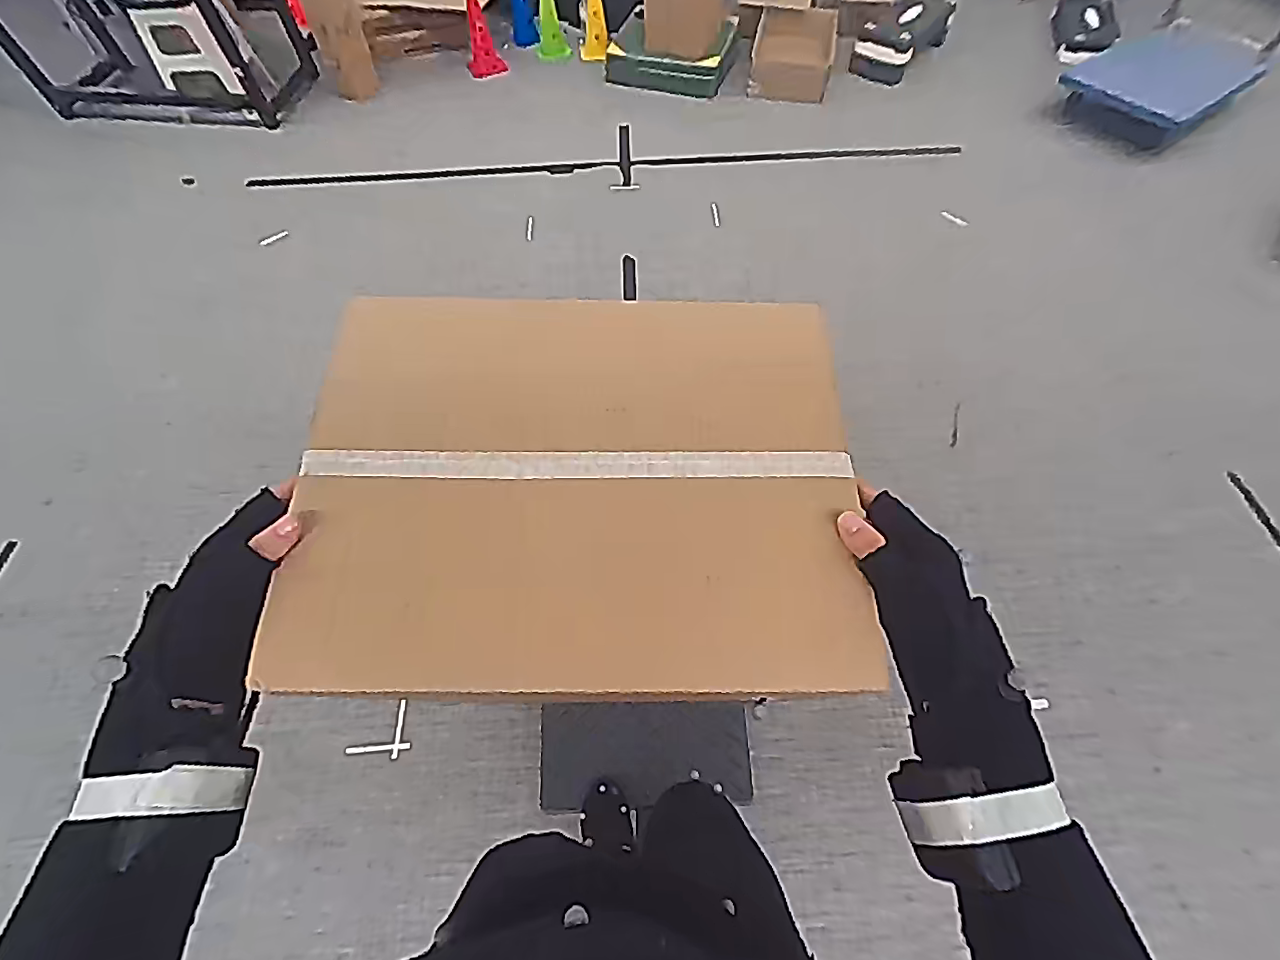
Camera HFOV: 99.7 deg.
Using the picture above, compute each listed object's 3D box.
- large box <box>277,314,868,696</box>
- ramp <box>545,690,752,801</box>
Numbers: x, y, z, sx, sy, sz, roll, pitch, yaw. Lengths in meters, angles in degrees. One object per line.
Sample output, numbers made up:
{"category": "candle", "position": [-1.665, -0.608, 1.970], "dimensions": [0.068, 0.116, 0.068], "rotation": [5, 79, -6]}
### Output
{"category": "large box", "position": [-0.046, 0.053, 0.553], "dimensions": [0.408, 0.320, 0.320], "rotation": [0, 66, -1]}
{"category": "ramp", "position": [-0.001, 0.265, 1.424], "dimensions": [0.509, 0.206, 0.991], "rotation": [-4, 60, -2]}
